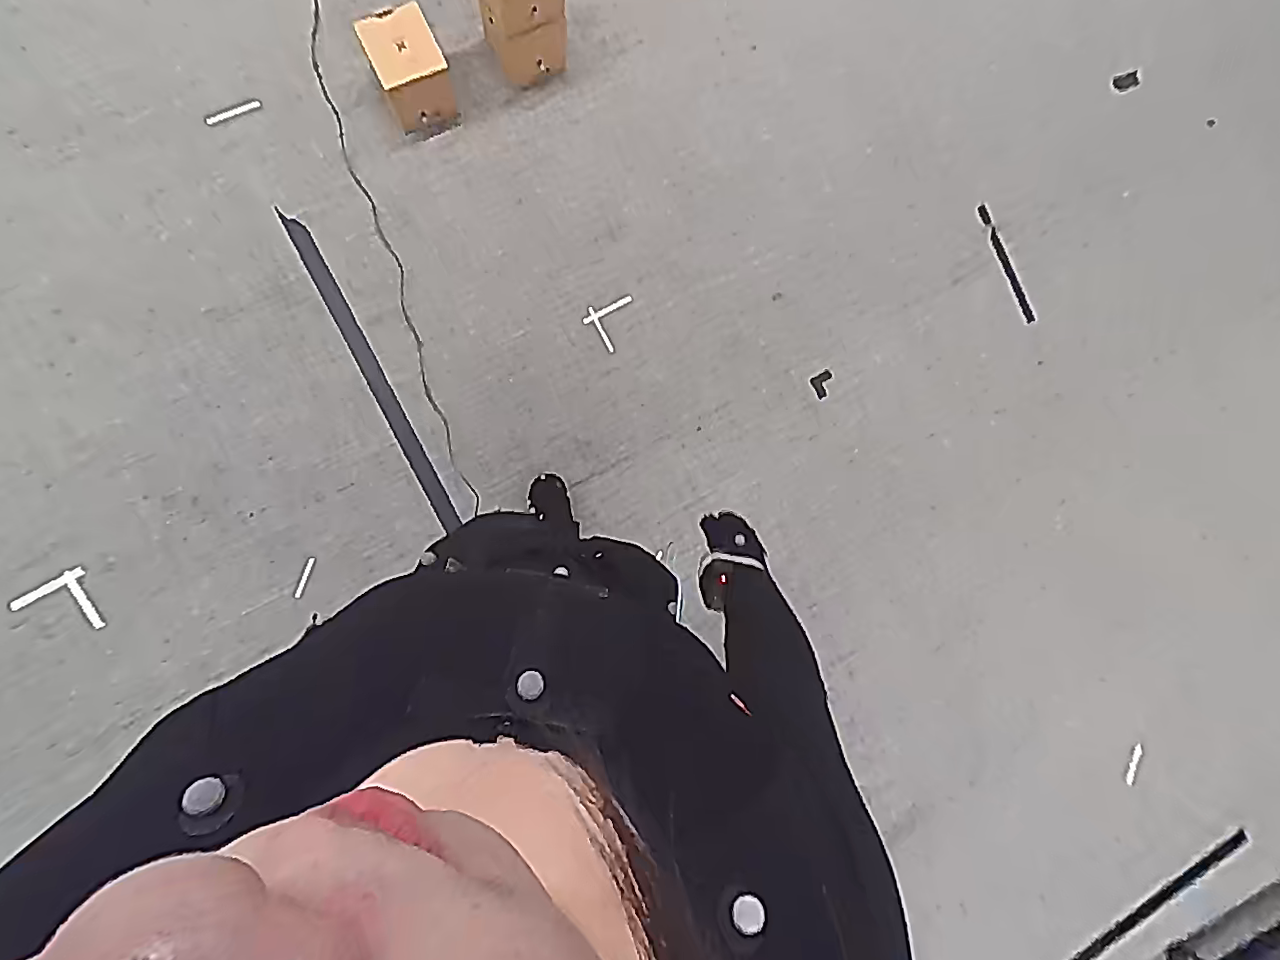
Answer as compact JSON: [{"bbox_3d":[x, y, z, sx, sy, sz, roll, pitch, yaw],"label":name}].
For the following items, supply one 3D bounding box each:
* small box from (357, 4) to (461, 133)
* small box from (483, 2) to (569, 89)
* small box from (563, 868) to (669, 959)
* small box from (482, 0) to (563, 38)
[{"bbox_3d":[-0.581,-1.040,1.381,0.168,0.176,0.179,-26,93,-7],"label":"small box"},{"bbox_3d":[-0.301,-1.192,1.421,0.168,0.176,0.179,-30,93,-7],"label":"small box"},{"bbox_3d":[-0.047,0.923,1.068,0.179,0.176,0.168,-22,93,-6],"label":"small box"},{"bbox_3d":[-0.285,-1.194,1.257,0.179,0.176,0.168,-30,92,-8],"label":"small box"}]
